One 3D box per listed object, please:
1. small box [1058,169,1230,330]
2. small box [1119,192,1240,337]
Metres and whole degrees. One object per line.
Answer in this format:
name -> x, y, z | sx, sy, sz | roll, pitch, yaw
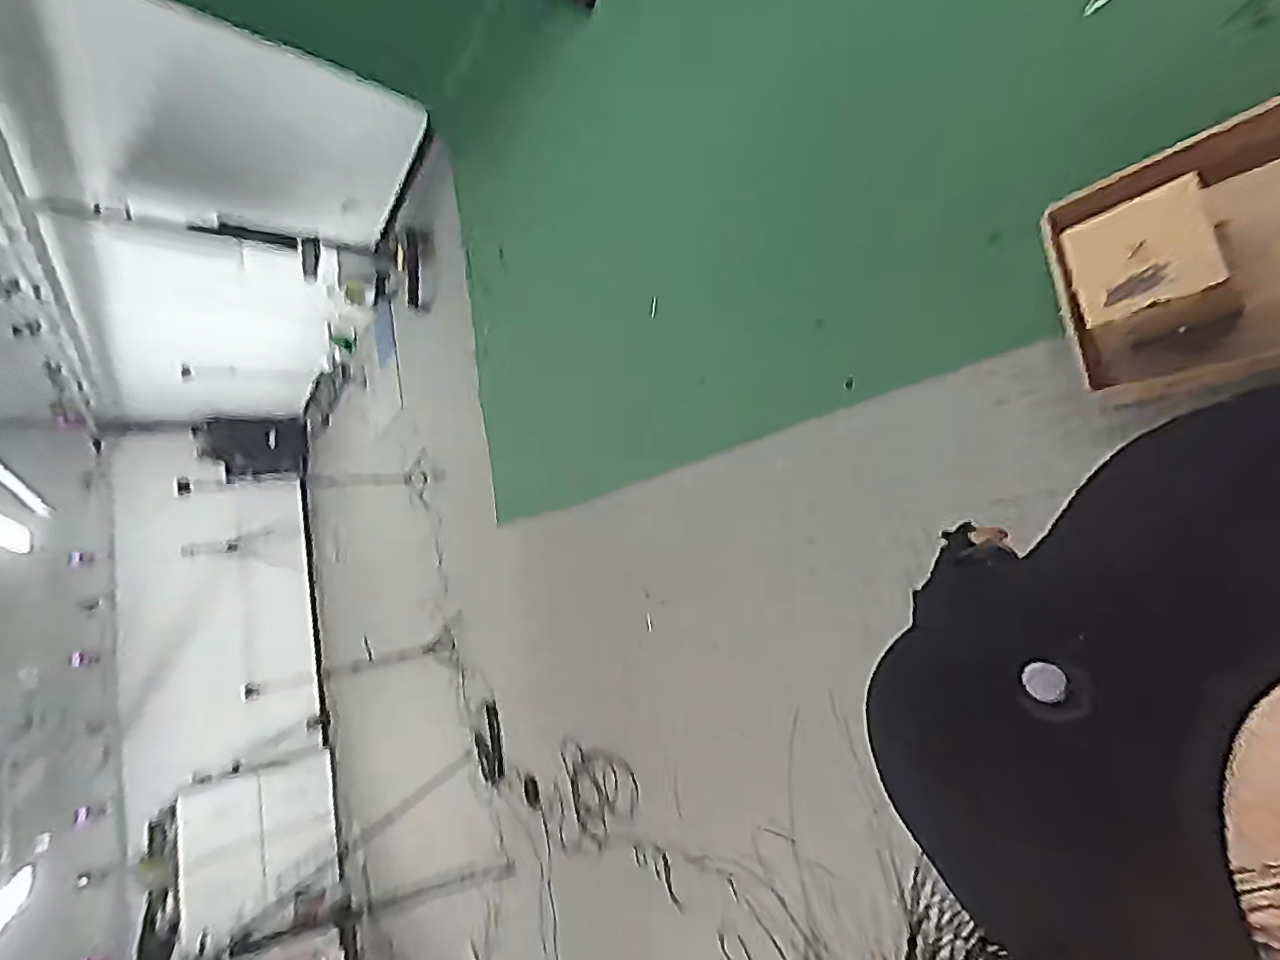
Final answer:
small box -> 0.830, -0.361, 0.890 | 0.168, 0.176, 0.179 | -19, 78, 48
small box -> 0.957, -0.382, 0.994 | 0.168, 0.176, 0.179 | -21, 77, 49
